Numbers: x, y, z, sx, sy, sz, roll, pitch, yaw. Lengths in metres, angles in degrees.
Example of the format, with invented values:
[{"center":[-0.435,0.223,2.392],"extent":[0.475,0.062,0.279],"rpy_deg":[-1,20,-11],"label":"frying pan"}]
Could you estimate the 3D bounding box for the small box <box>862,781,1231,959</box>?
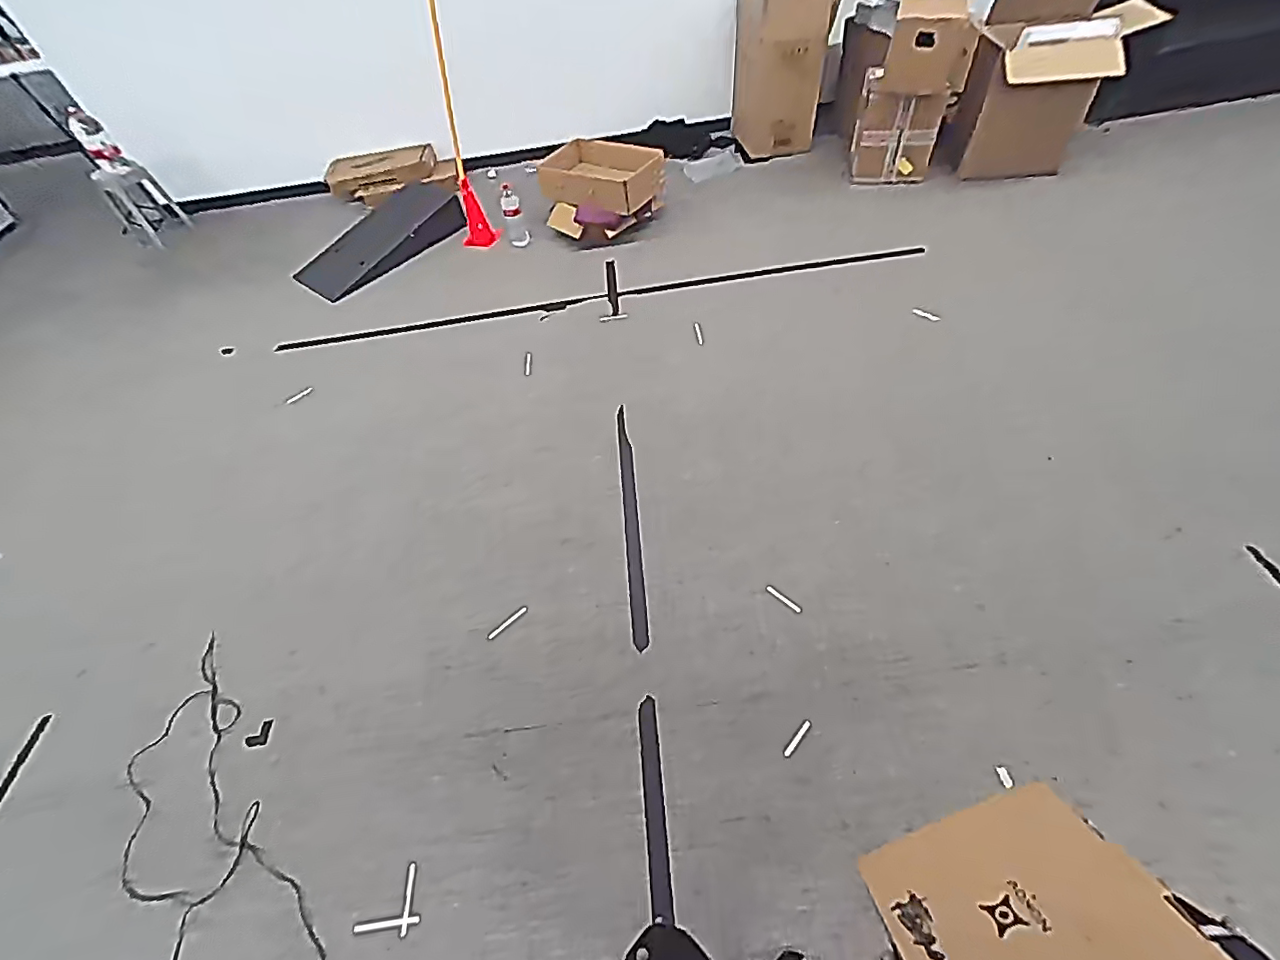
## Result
[{"center":[0.306,0.381,0.407],"extent":[0.179,0.176,0.168],"rpy_deg":[-24,11,3],"label":"small box"}]
